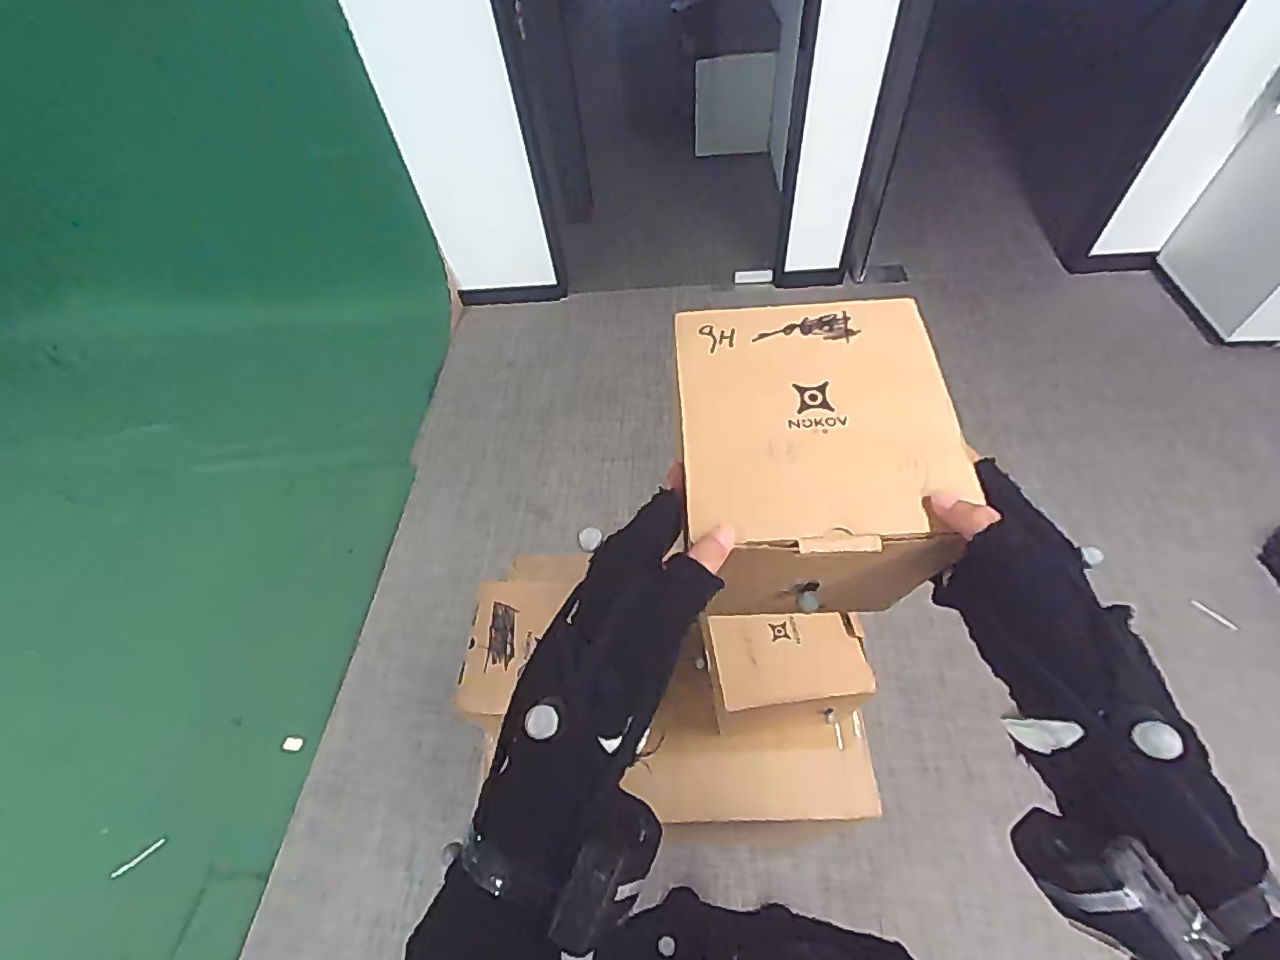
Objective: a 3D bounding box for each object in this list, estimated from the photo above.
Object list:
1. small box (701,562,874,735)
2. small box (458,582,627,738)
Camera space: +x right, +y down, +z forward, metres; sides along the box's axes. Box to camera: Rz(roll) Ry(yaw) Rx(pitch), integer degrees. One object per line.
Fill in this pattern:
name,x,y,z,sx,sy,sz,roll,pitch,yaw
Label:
small box,0.180,0.230,0.723,0.179,0.176,0.168,-10,54,1
small box,-0.119,0.250,0.742,0.179,0.176,0.168,0,57,6
